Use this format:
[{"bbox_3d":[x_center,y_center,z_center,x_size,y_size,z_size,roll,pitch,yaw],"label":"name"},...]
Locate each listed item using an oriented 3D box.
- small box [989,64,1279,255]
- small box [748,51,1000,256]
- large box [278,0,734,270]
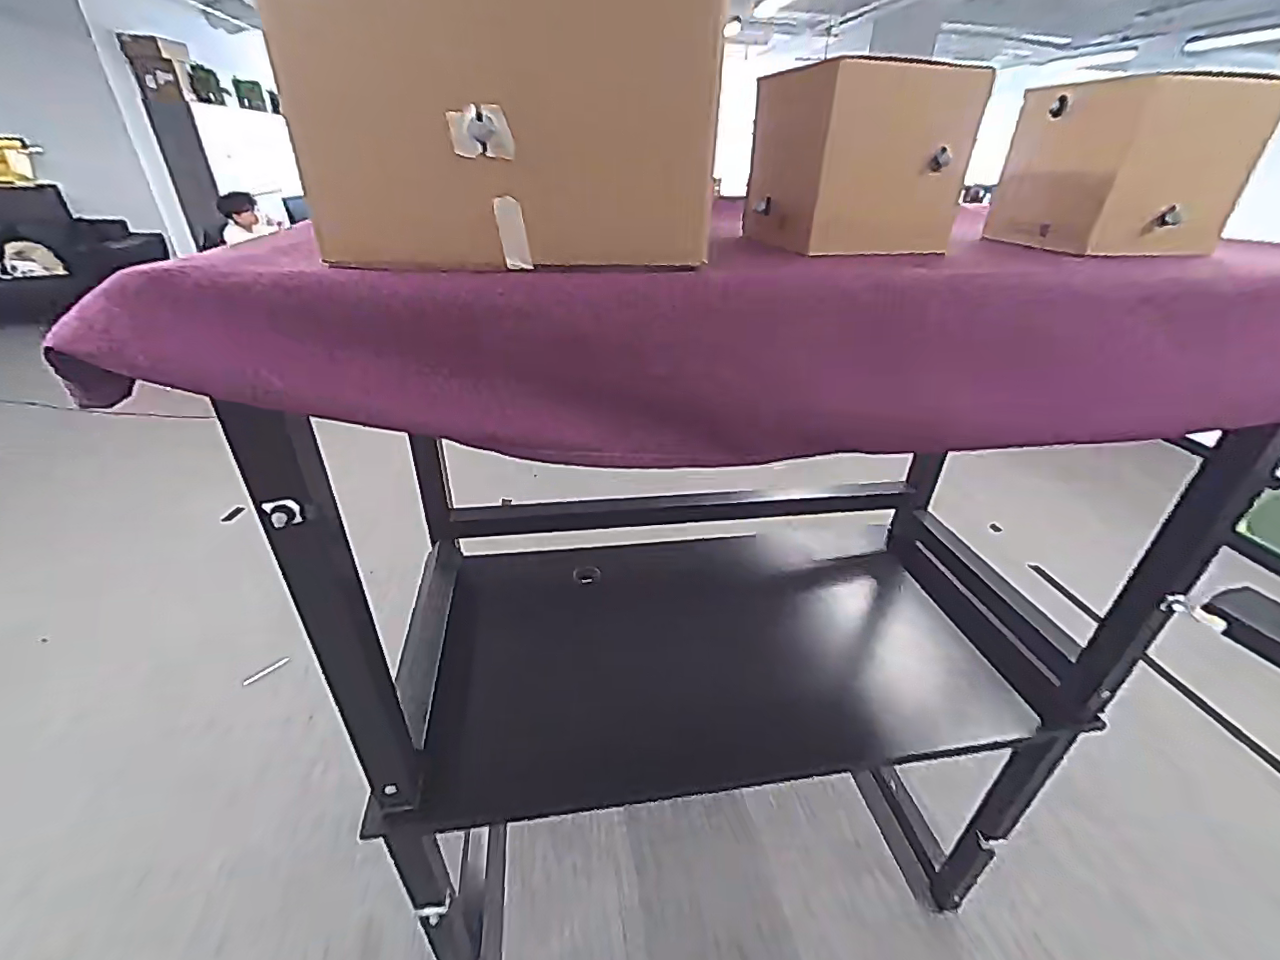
[{"bbox_3d":[0.559,-0.363,0.629,0.179,0.176,0.168,-3,30,-9],"label":"small box"},{"bbox_3d":[0.237,-0.351,0.597,0.179,0.176,0.168,-7,31,-13],"label":"small box"},{"bbox_3d":[-0.111,-0.399,0.530,0.320,0.320,0.408,-2,30,-7],"label":"large box"}]
